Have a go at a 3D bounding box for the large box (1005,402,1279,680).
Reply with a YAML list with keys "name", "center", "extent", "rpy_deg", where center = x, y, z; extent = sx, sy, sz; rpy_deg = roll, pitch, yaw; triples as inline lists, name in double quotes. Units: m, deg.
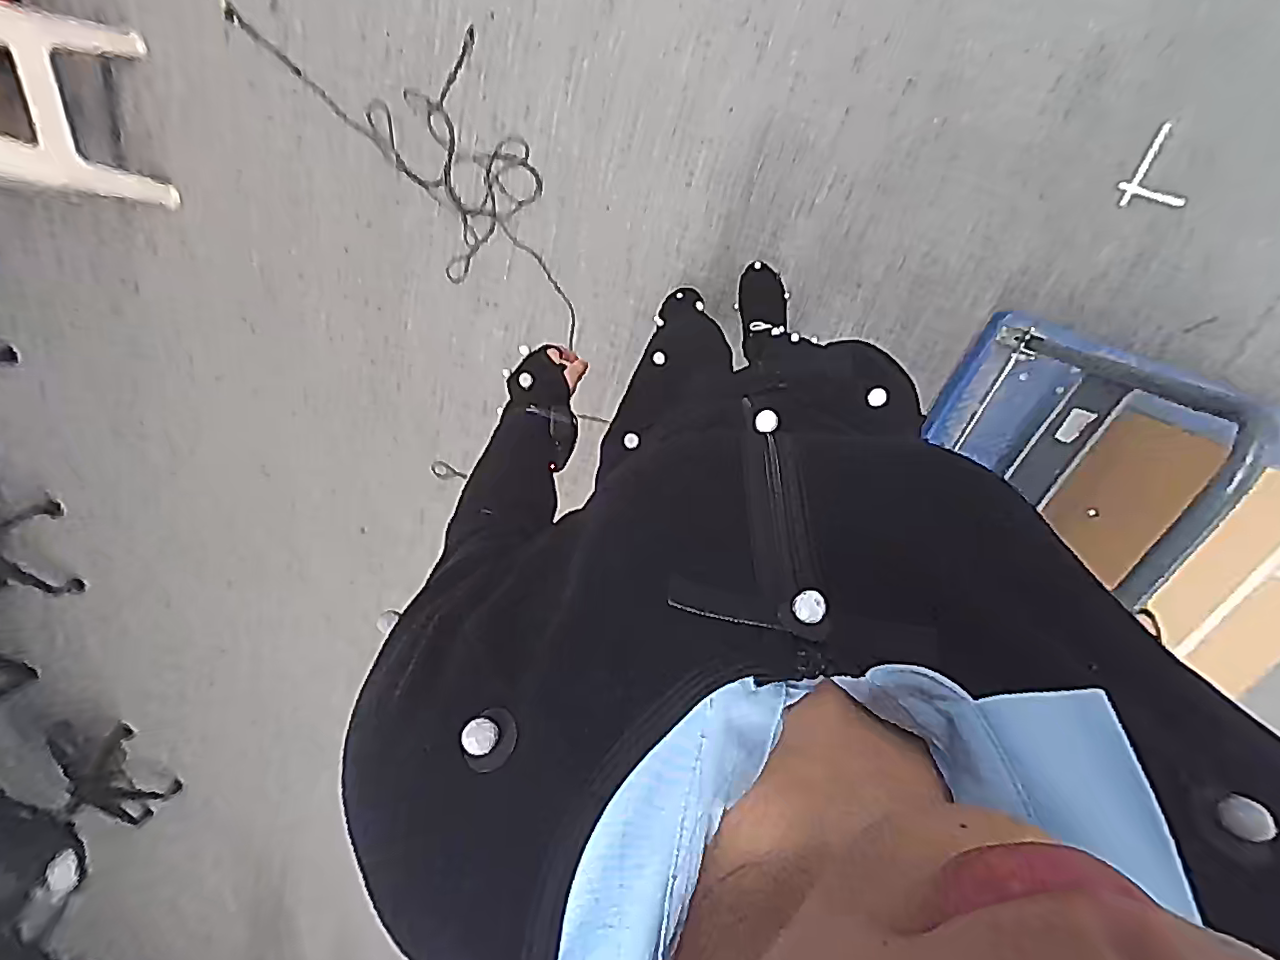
- name: "large box"
  center: [1.054, 0.107, 1.094]
  extent: [0.320, 0.320, 0.408]
  rpy_deg: [21, 113, 1]
